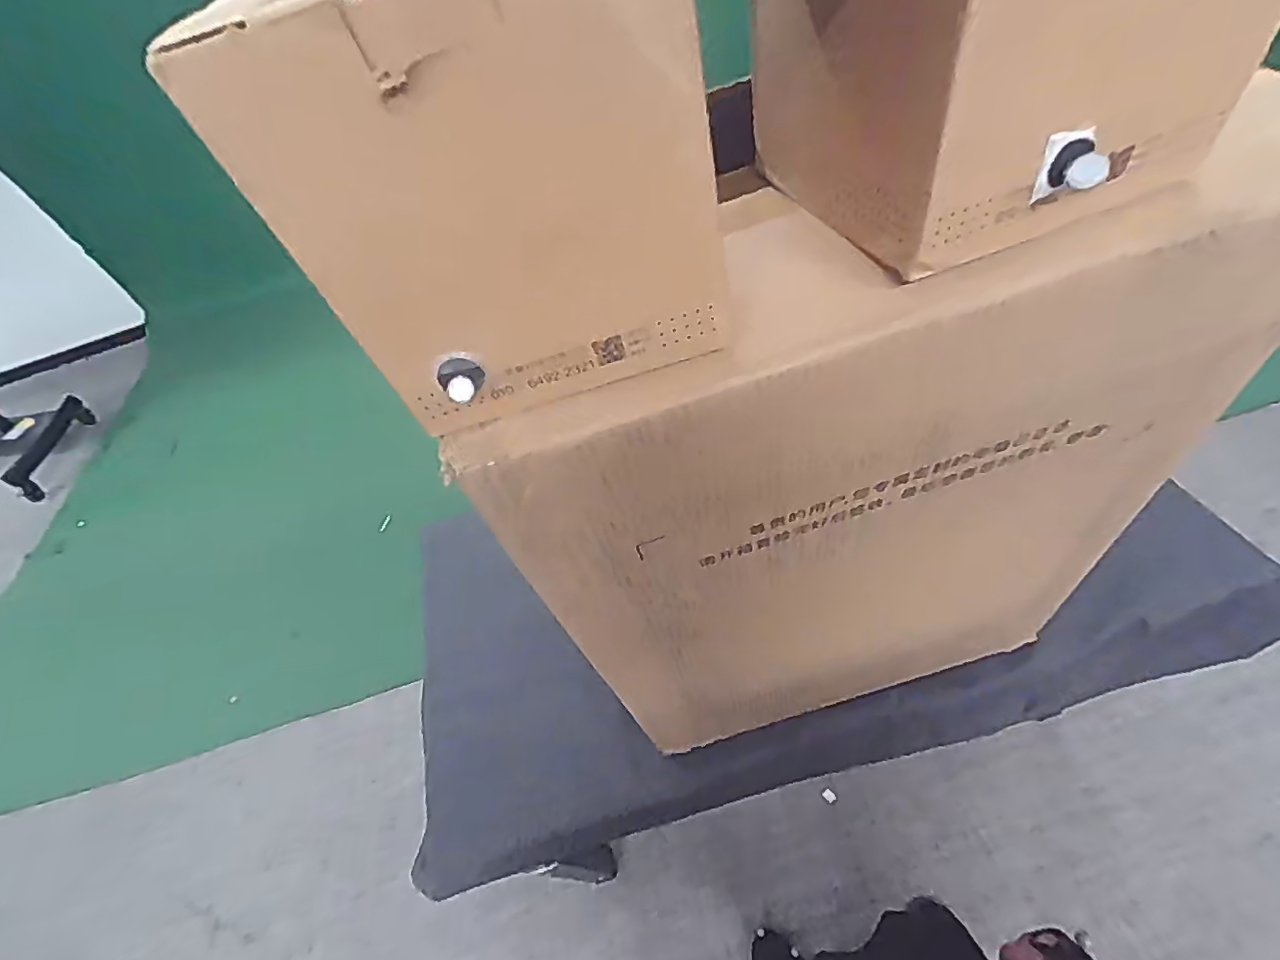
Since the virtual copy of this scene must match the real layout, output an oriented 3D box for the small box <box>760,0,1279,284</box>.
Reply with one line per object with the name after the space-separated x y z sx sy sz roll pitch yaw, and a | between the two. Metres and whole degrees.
0.166 -0.230 0.267 0.168 0.176 0.179 -23 51 -2 | small box
